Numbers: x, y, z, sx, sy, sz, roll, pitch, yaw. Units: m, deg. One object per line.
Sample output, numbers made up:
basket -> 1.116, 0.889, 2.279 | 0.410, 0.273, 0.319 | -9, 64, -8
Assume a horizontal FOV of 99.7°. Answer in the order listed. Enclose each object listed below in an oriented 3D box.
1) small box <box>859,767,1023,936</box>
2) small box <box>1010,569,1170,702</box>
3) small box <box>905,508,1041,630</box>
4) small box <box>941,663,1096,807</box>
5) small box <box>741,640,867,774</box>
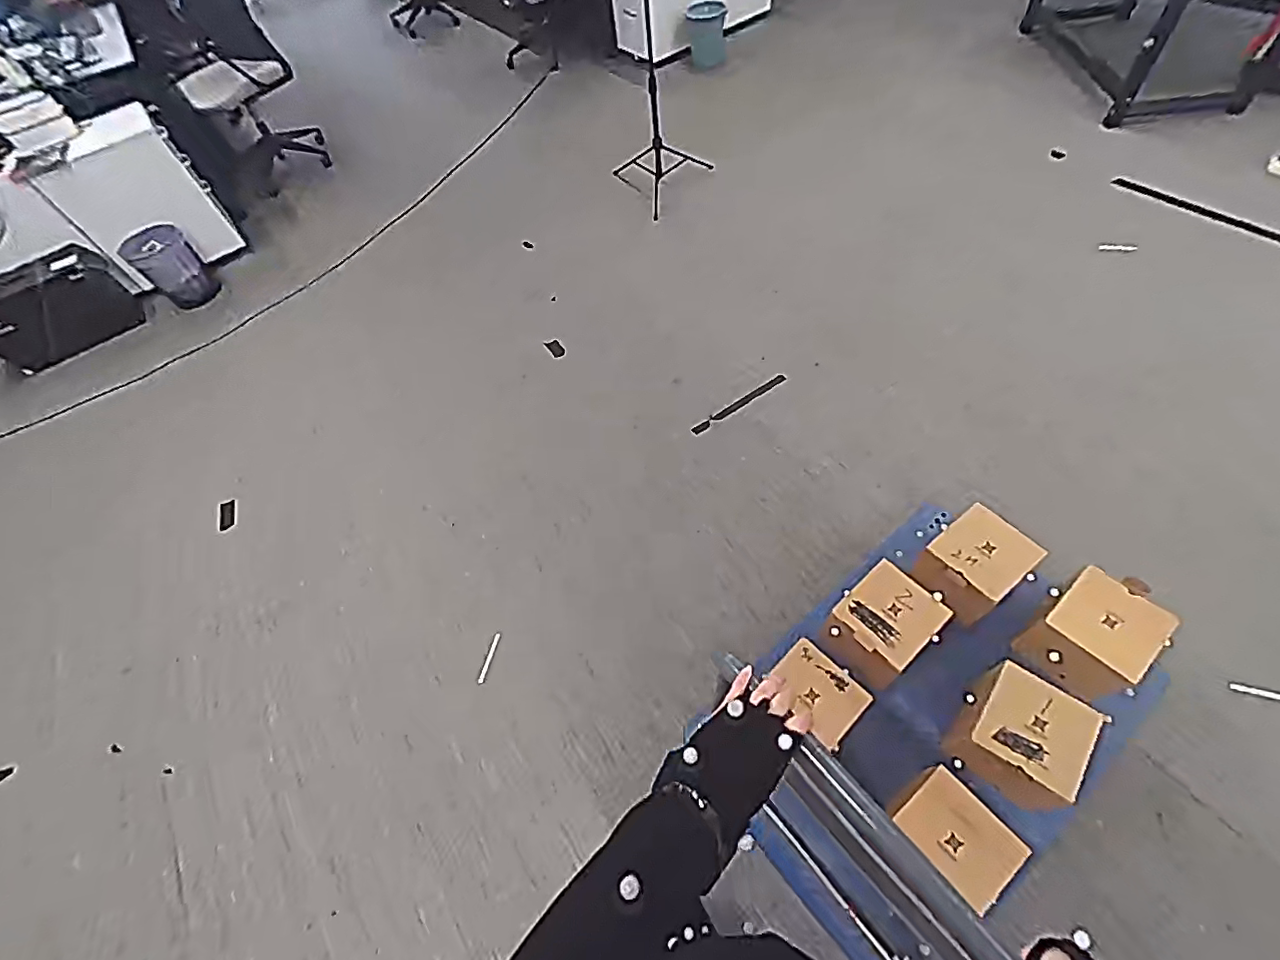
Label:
small box -> 0.511, 0.644, 0.949 | 0.179, 0.176, 0.168 | -35, 60, -16
small box -> 0.903, 0.324, 1.108 | 0.179, 0.176, 0.168 | -39, 60, -17
small box -> 0.730, 0.201, 1.209 | 0.179, 0.176, 0.168 | -35, 59, -14
small box -> 0.702, 0.488, 1.025 | 0.168, 0.176, 0.179 | 32, 65, 25
small box -> 0.322, 0.463, 1.092 | 0.179, 0.176, 0.168 | -39, 61, -17
